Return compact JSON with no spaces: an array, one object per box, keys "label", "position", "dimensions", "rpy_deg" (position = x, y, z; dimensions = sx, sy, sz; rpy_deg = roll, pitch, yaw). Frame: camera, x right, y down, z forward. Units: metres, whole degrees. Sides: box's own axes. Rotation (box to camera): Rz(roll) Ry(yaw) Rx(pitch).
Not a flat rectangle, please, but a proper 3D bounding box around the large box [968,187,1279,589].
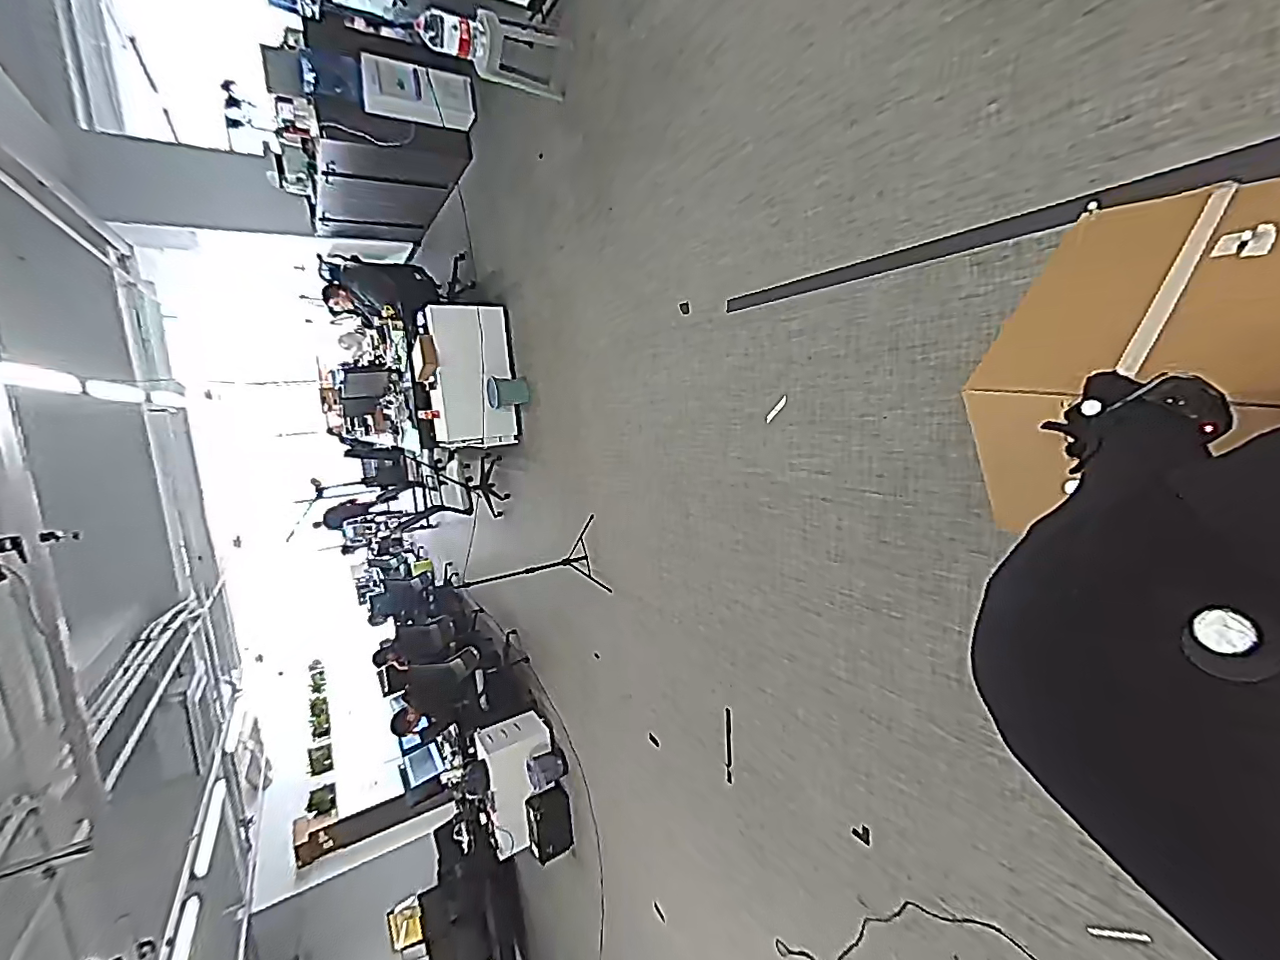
[{"label":"large box","position":[0.727,-0.130,0.741],"dimensions":[0.320,0.408,0.320],"rpy_deg":[20,153,53]}]
